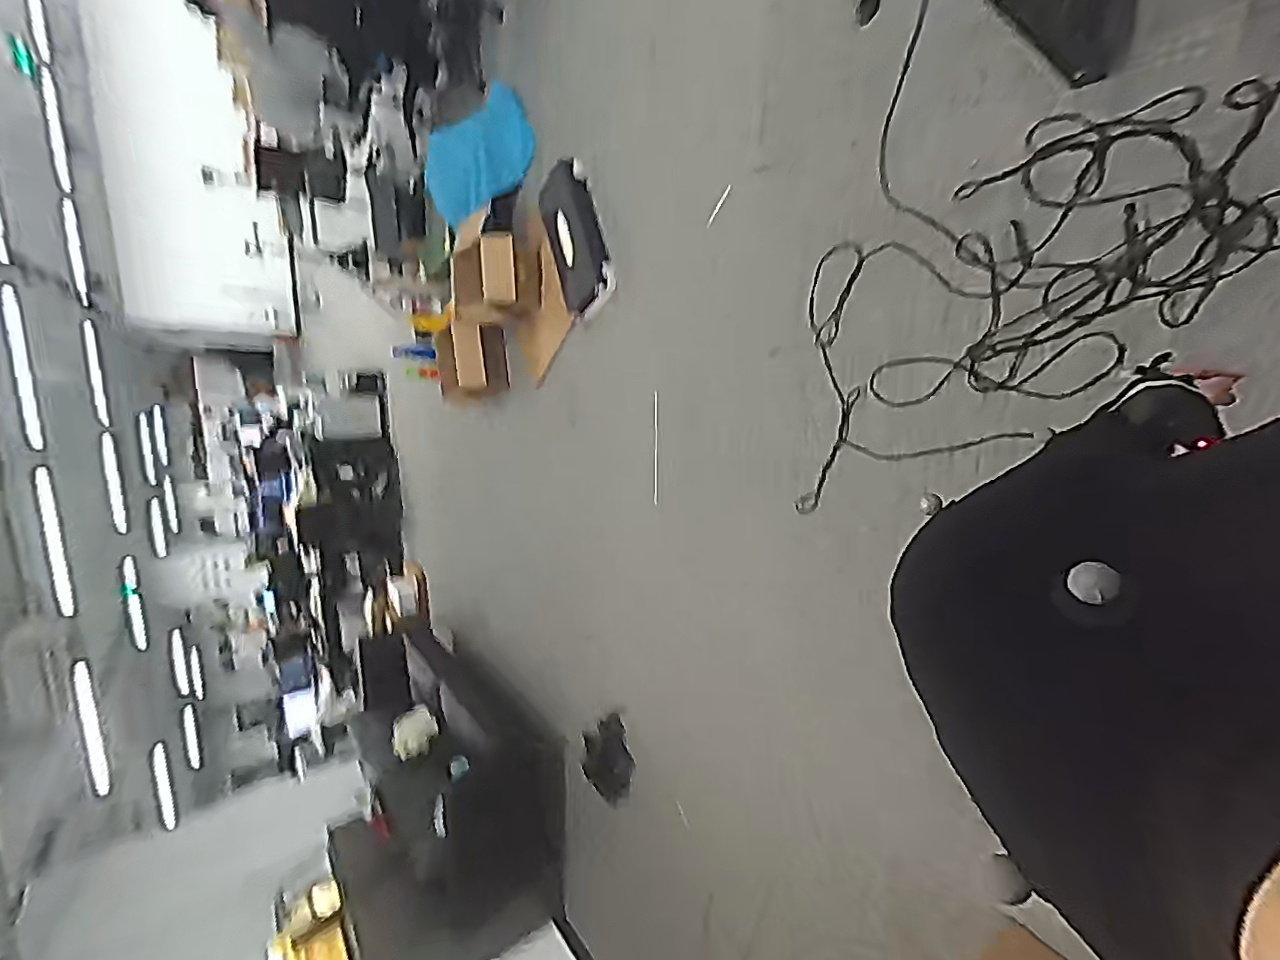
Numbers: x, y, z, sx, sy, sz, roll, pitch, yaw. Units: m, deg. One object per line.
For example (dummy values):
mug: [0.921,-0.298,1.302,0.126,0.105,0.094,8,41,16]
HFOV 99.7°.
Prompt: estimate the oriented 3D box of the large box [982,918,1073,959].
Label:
large box: [0.899,1.261,1.108,0.408,0.320,0.320,22,112,51]
